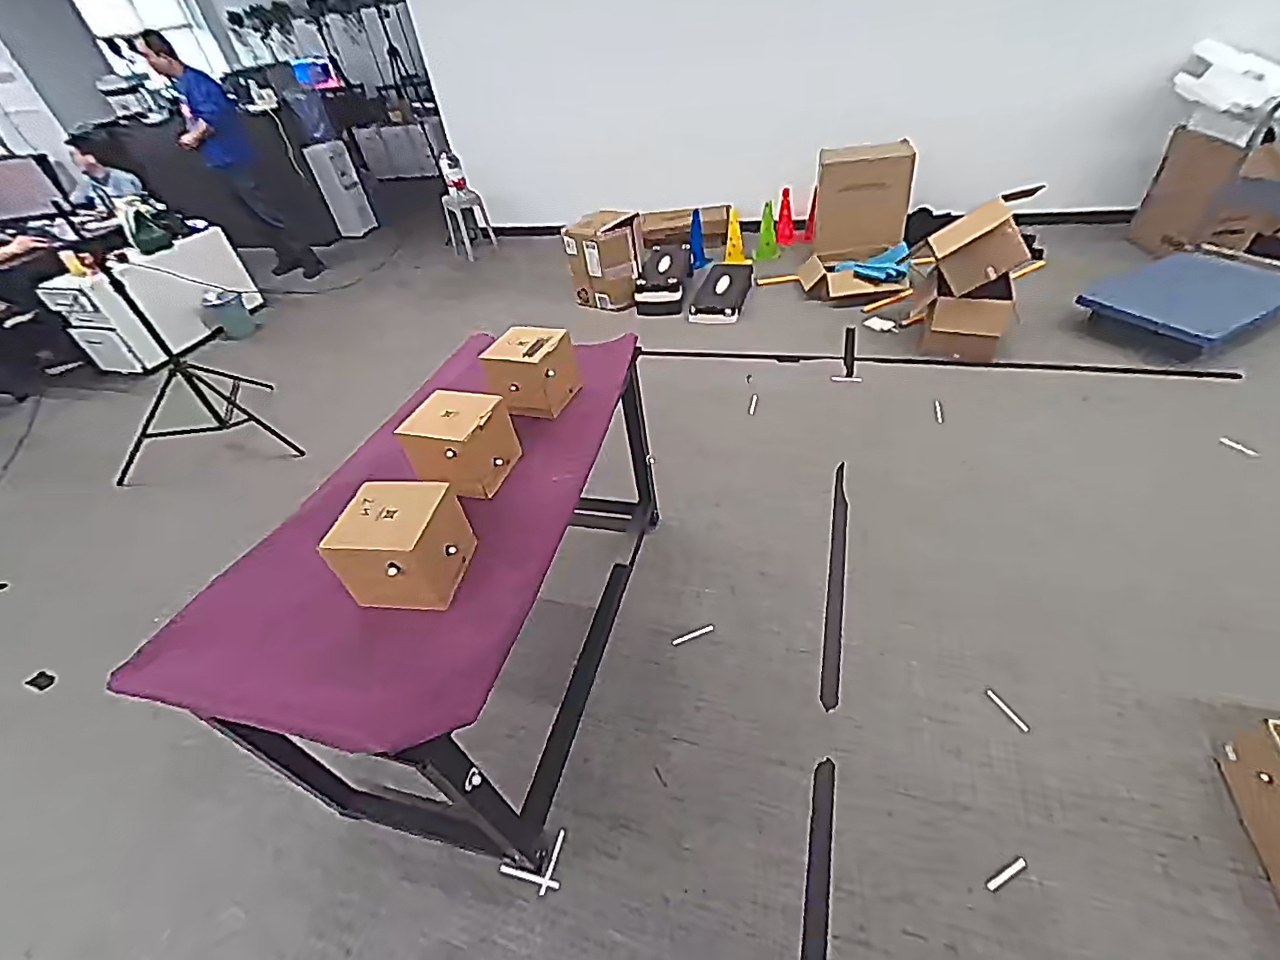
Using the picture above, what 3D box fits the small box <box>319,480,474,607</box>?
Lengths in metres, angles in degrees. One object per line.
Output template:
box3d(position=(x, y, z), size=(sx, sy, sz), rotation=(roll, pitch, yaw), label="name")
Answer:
box3d(position=(-0.429, 0.118, 0.993), size=(0.179, 0.176, 0.168), rotation=(0, 42, 10), label="small box")

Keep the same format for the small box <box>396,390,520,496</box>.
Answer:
box3d(position=(-0.398, -0.082, 1.211), size=(0.179, 0.176, 0.168), rotation=(7, 45, 17), label="small box")
